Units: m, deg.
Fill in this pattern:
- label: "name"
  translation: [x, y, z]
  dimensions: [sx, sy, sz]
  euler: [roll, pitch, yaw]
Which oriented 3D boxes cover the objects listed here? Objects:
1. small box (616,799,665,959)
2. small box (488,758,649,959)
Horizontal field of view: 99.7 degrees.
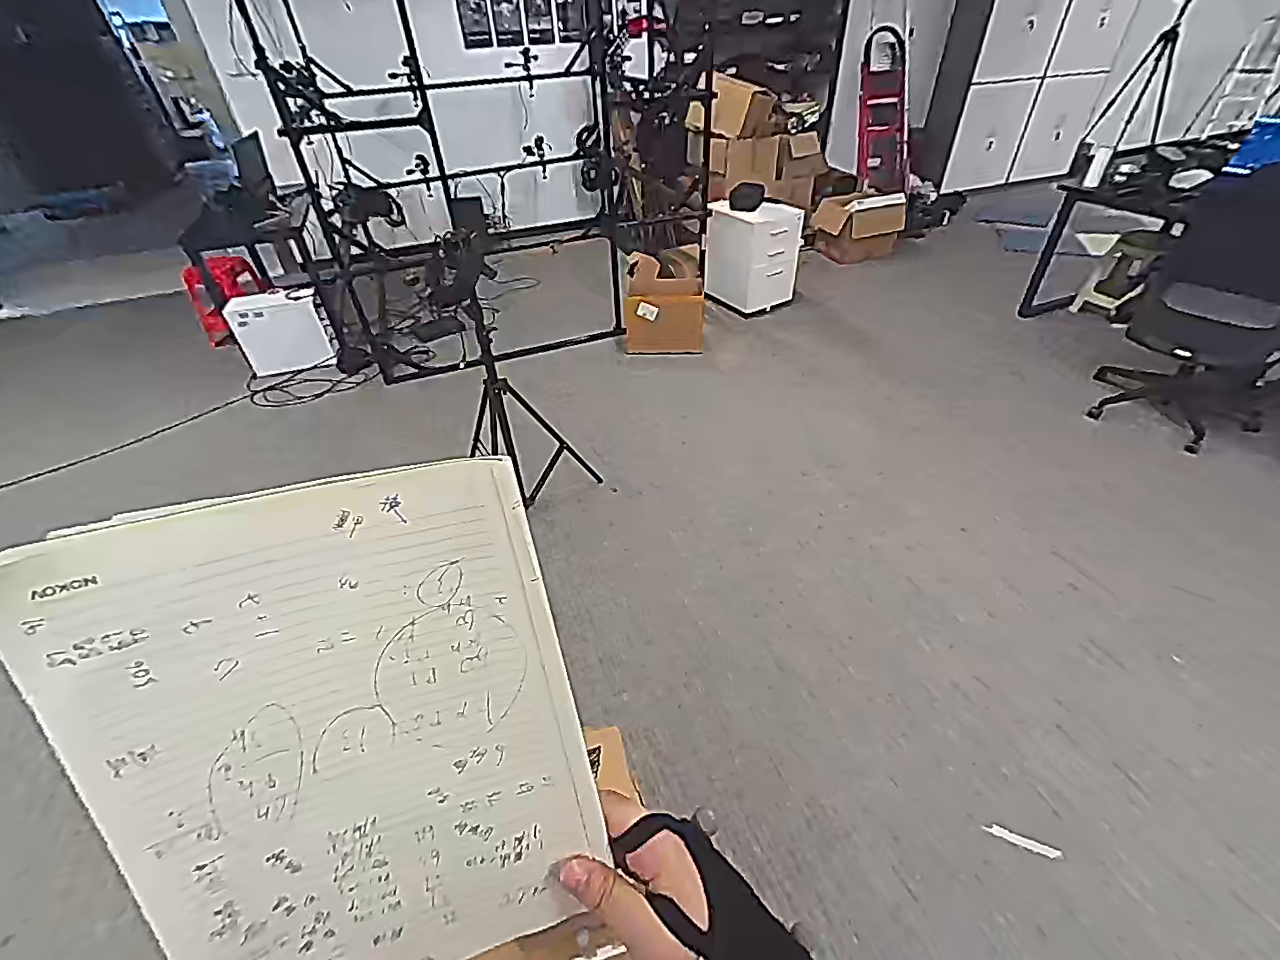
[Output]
- label: "small box"
  translation: [-0.074, 0.606, 0.789]
  dimensions: [0.179, 0.176, 0.168]
  euler: [-13, 42, -14]
- label: "small box"
  translation: [-0.092, 0.487, 0.676]
  dimensions: [0.168, 0.176, 0.179]
  euler: [-9, 43, -12]
